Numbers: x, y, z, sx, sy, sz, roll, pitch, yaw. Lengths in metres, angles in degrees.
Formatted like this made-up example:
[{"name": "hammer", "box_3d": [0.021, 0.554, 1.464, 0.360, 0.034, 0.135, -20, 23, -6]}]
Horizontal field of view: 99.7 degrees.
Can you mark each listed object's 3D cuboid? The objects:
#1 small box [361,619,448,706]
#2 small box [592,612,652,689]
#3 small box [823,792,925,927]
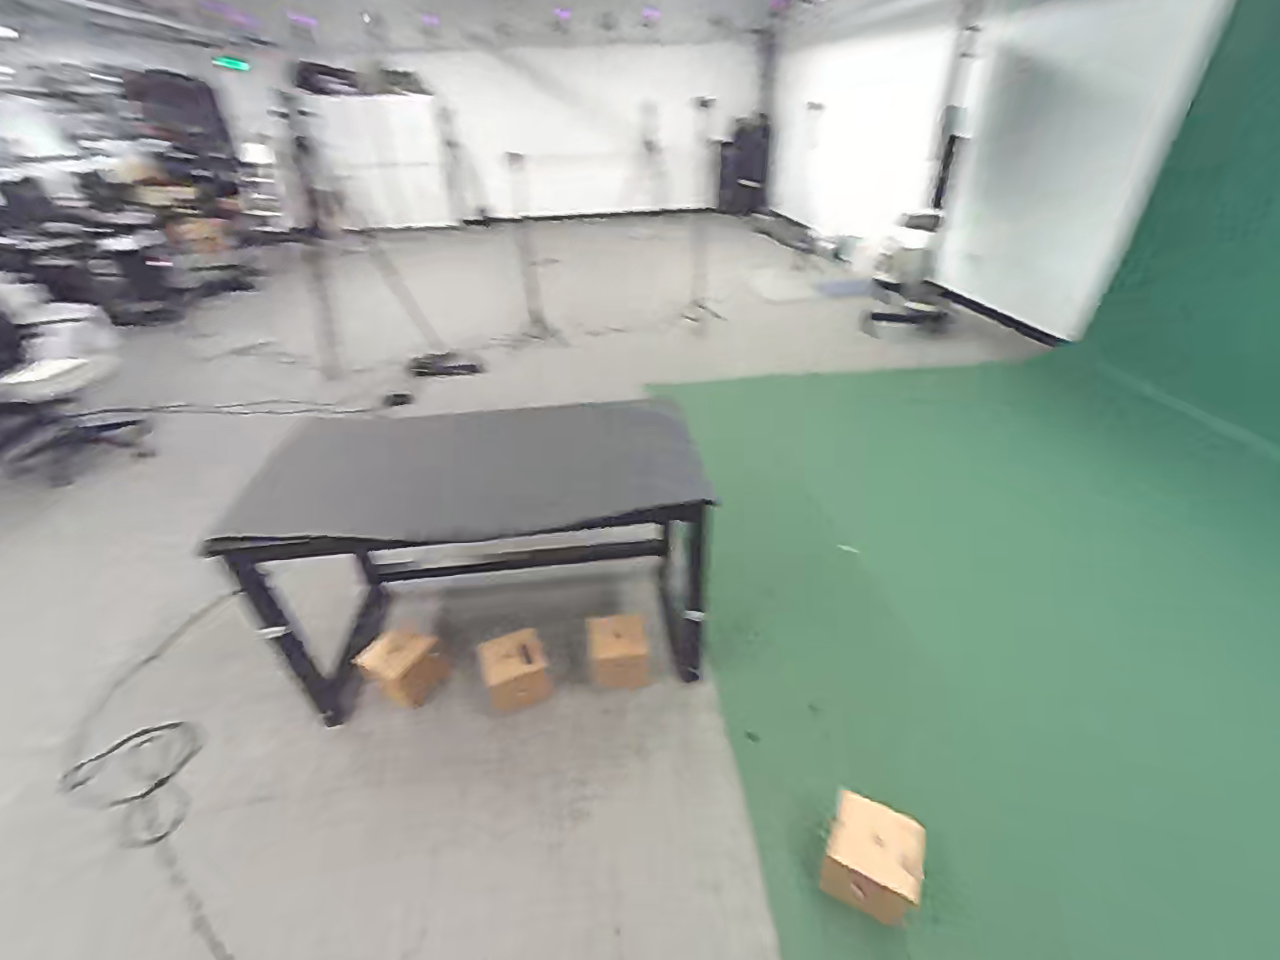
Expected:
[{"name": "small box", "box_3d": [-0.743, 0.586, 1.730, 0.168, 0.176, 0.179, 15, 37, 23]}, {"name": "small box", "box_3d": [-0.059, 0.551, 1.738, 0.179, 0.176, 0.168, -5, 35, -5]}, {"name": "small box", "box_3d": [0.532, 0.870, 1.238, 0.179, 0.176, 0.168, 15, 37, 25]}]
